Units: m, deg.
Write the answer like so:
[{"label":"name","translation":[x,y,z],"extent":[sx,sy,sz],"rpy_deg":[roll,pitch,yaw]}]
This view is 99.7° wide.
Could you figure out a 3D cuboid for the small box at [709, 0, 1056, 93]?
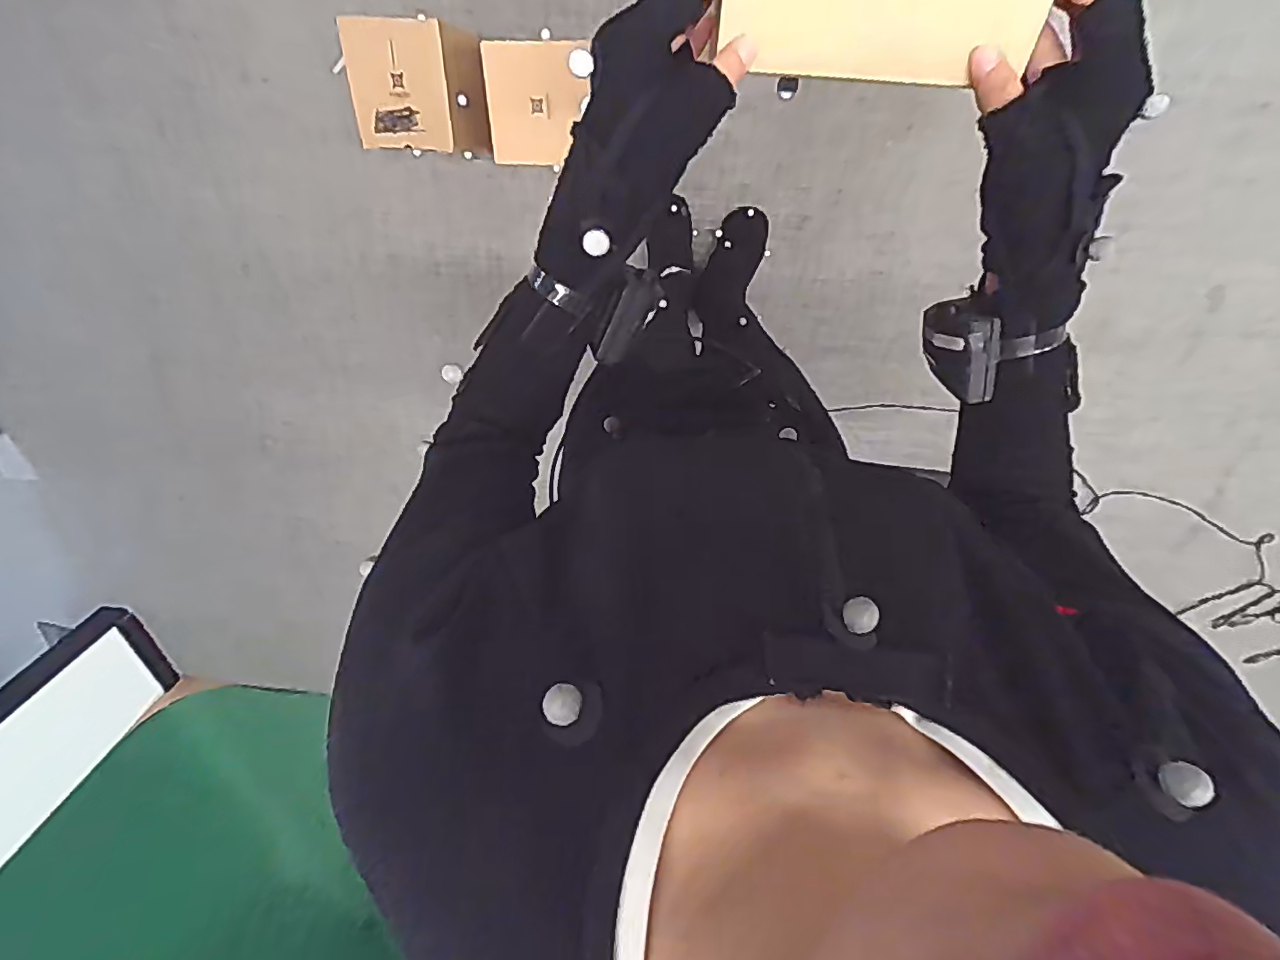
[{"label":"small box","translation":[0.132,-0.333,0.300],"extent":[0.168,0.176,0.179],"rpy_deg":[4,130,1]}]

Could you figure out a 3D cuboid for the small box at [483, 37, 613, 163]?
[{"label":"small box","translation":[-0.145,-0.643,0.924],"extent":[0.179,0.176,0.168],"rpy_deg":[3,125,5]}]
